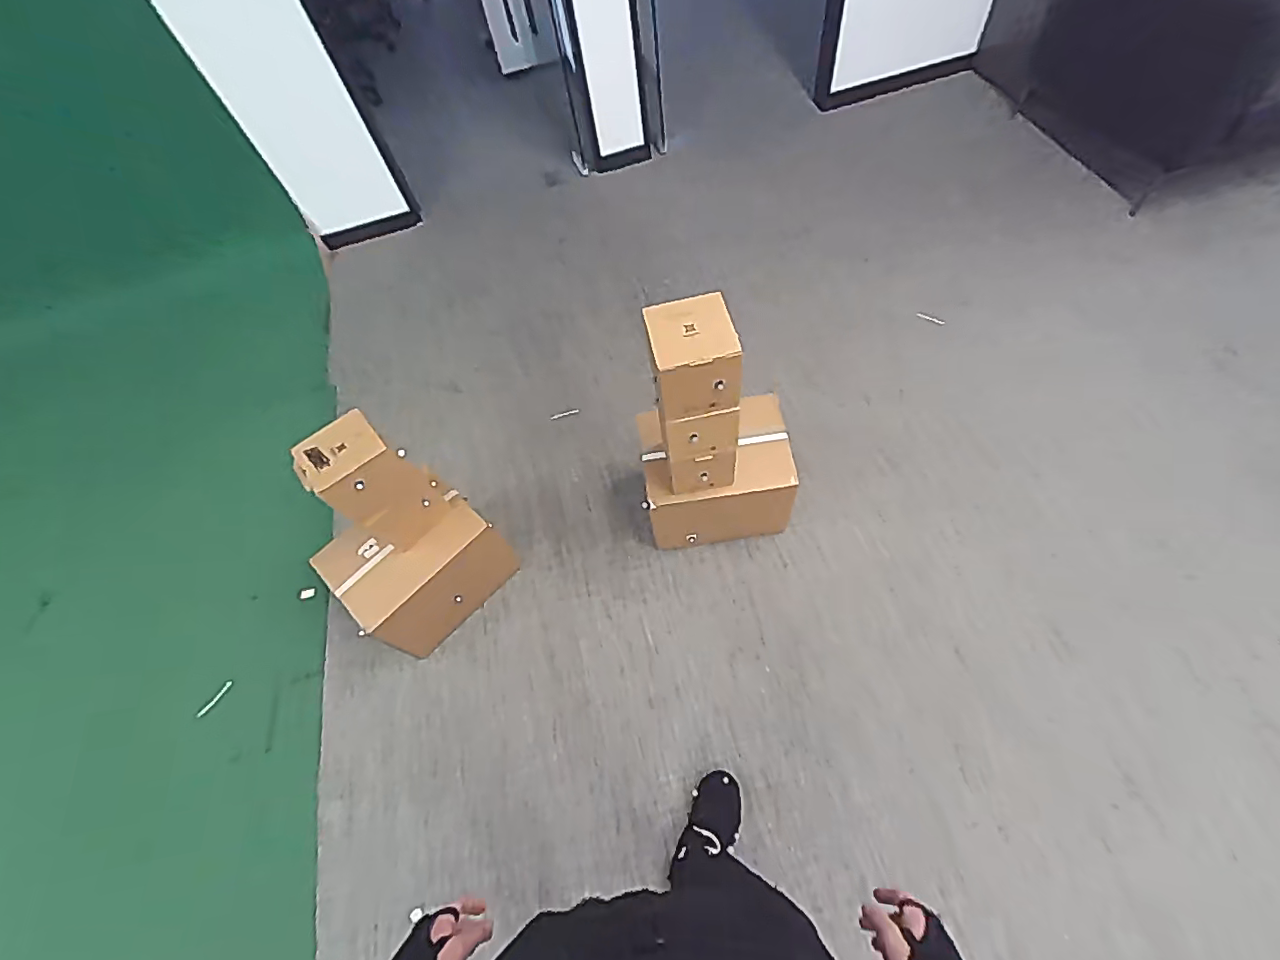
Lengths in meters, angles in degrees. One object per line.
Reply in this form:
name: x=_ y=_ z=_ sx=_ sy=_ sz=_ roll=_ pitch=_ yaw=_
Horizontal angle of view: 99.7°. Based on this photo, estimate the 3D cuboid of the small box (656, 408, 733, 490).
small box: x=0.142 y=-0.086 z=1.402 sx=0.168 sy=0.176 sz=0.179 roll=-10 pitch=61 yaw=1

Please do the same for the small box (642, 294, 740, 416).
small box: x=0.106 y=-0.249 z=1.122 sx=0.168 sy=0.176 sz=0.179 roll=-12 pitch=58 yaw=0

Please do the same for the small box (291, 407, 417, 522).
small box: x=-0.672 y=-0.030 z=1.284 sx=0.179 sy=0.176 sz=0.168 roll=-38 pitch=63 yaw=-14

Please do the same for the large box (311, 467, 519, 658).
large box: x=-0.639 y=0.246 z=1.597 sx=0.320 sy=0.320 sz=0.408 roll=37 pitch=72 yaw=25

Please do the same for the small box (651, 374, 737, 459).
small box: x=0.127 y=-0.165 z=1.260 sx=0.168 sy=0.176 sz=0.179 roll=-11 pitch=59 yaw=1
